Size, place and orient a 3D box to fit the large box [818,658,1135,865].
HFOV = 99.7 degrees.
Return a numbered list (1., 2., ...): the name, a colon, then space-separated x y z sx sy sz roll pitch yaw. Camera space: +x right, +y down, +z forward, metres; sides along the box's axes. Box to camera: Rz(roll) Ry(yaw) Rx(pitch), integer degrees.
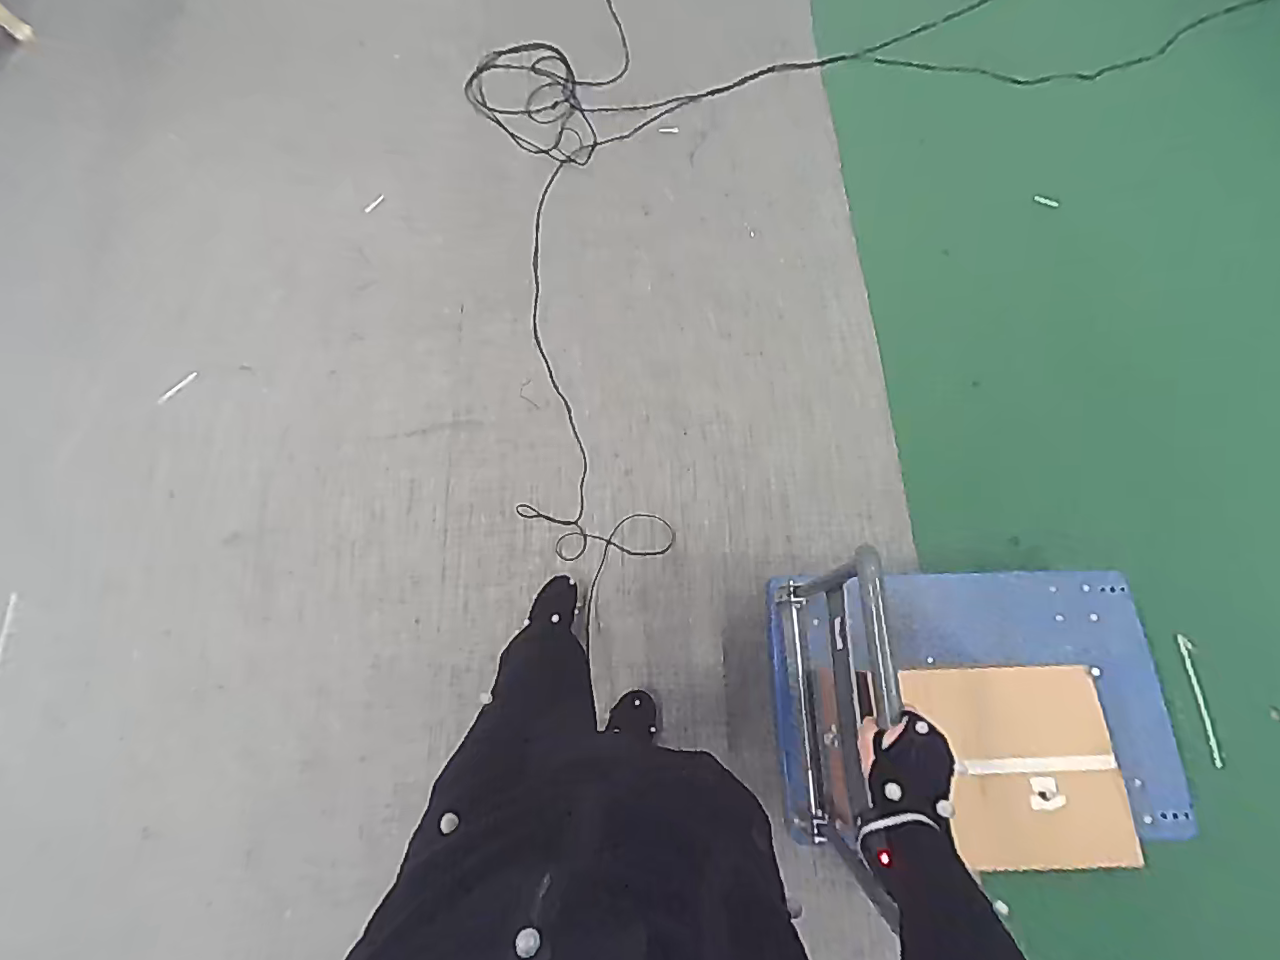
1. large box: 0.619 0.529 1.082 0.408 0.320 0.320 -2 73 0
